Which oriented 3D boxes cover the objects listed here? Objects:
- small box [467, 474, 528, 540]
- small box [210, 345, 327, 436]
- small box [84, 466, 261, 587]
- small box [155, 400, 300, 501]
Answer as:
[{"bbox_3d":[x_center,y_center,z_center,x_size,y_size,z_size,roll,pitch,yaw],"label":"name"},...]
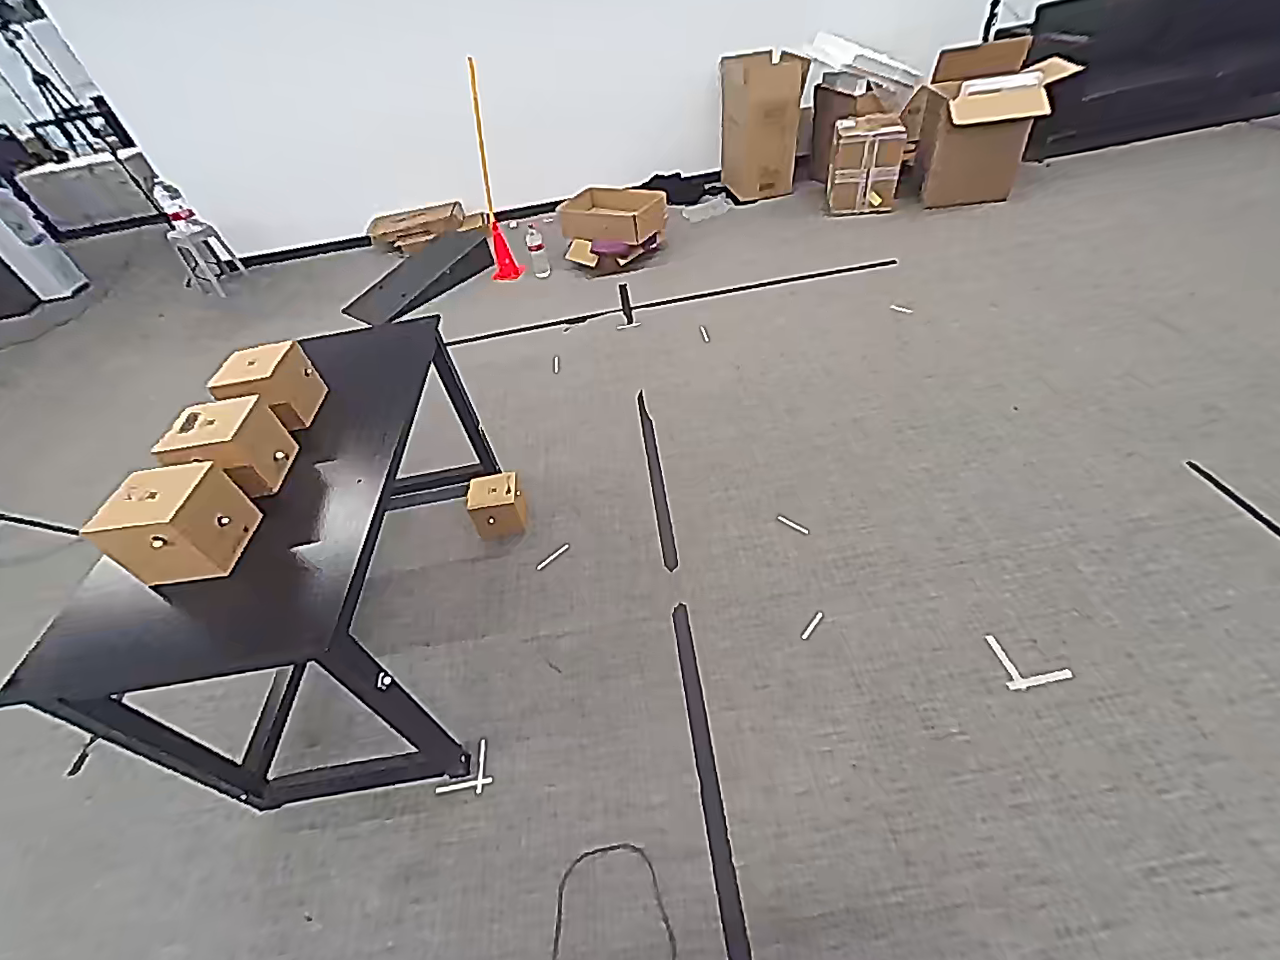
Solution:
[{"bbox_3d":[-0.536,0.107,2.050,0.179,0.176,0.168,-11,45,1],"label":"small box"},{"bbox_3d":[-0.968,-0.229,1.432,0.168,0.176,0.179,-12,45,2],"label":"small box"},{"bbox_3d":[-0.922,0.097,1.091,0.179,0.176,0.168,-8,44,3],"label":"small box"},{"bbox_3d":[-0.940,-0.059,1.252,0.179,0.176,0.168,-10,44,-1],"label":"small box"}]
